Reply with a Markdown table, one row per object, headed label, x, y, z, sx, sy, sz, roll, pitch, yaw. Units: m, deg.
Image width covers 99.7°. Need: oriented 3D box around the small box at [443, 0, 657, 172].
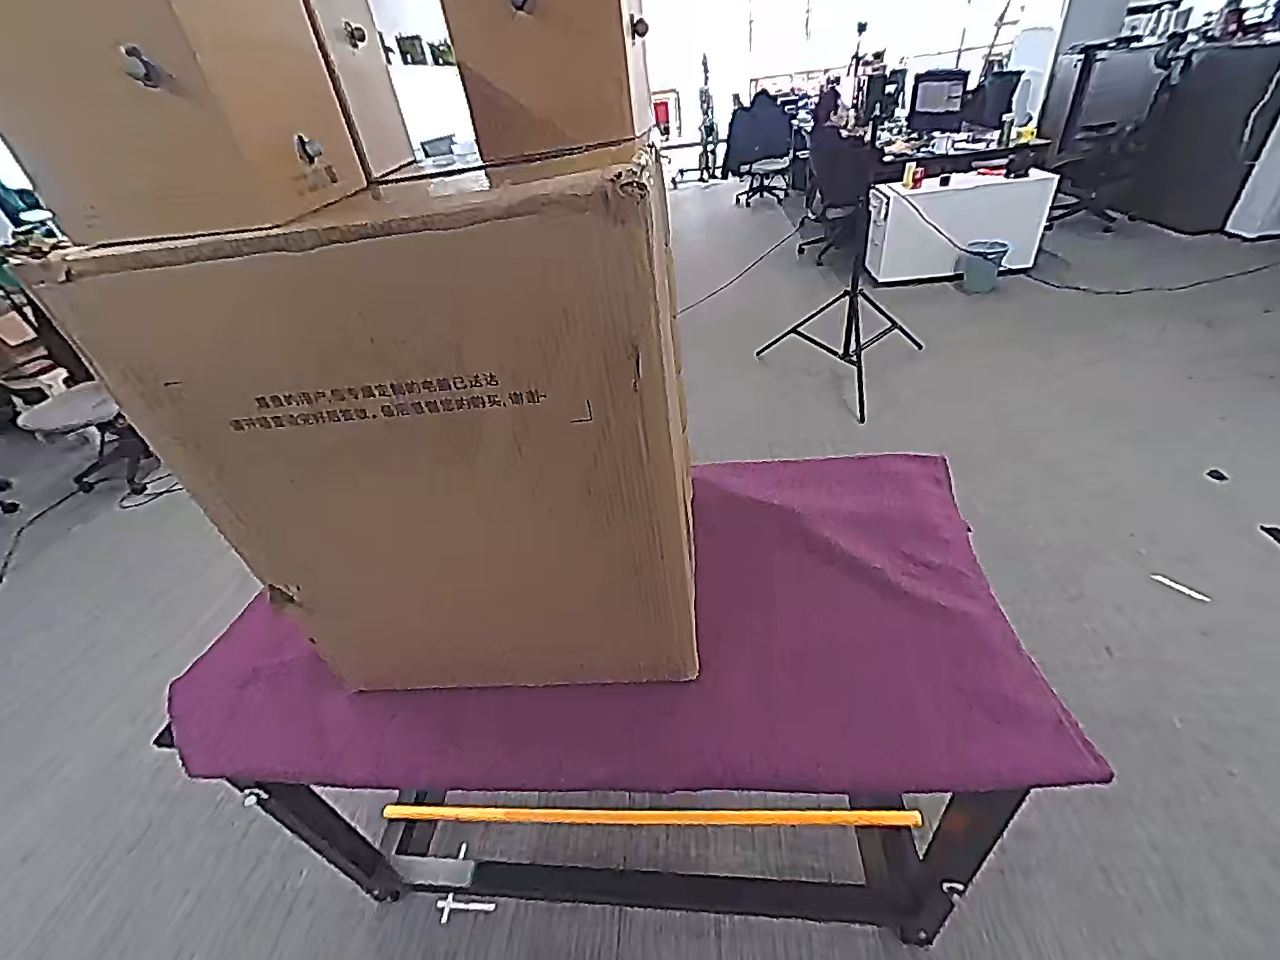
| label | x | y | z | sx | sy | sz | roll | pitch | yaw |
| --- | --- | --- | --- | --- | --- | --- | --- | --- | --- |
| small box | -0.081 | -0.452 | 0.588 | 0.179 | 0.176 | 0.168 | -2 | 37 | 11 |
